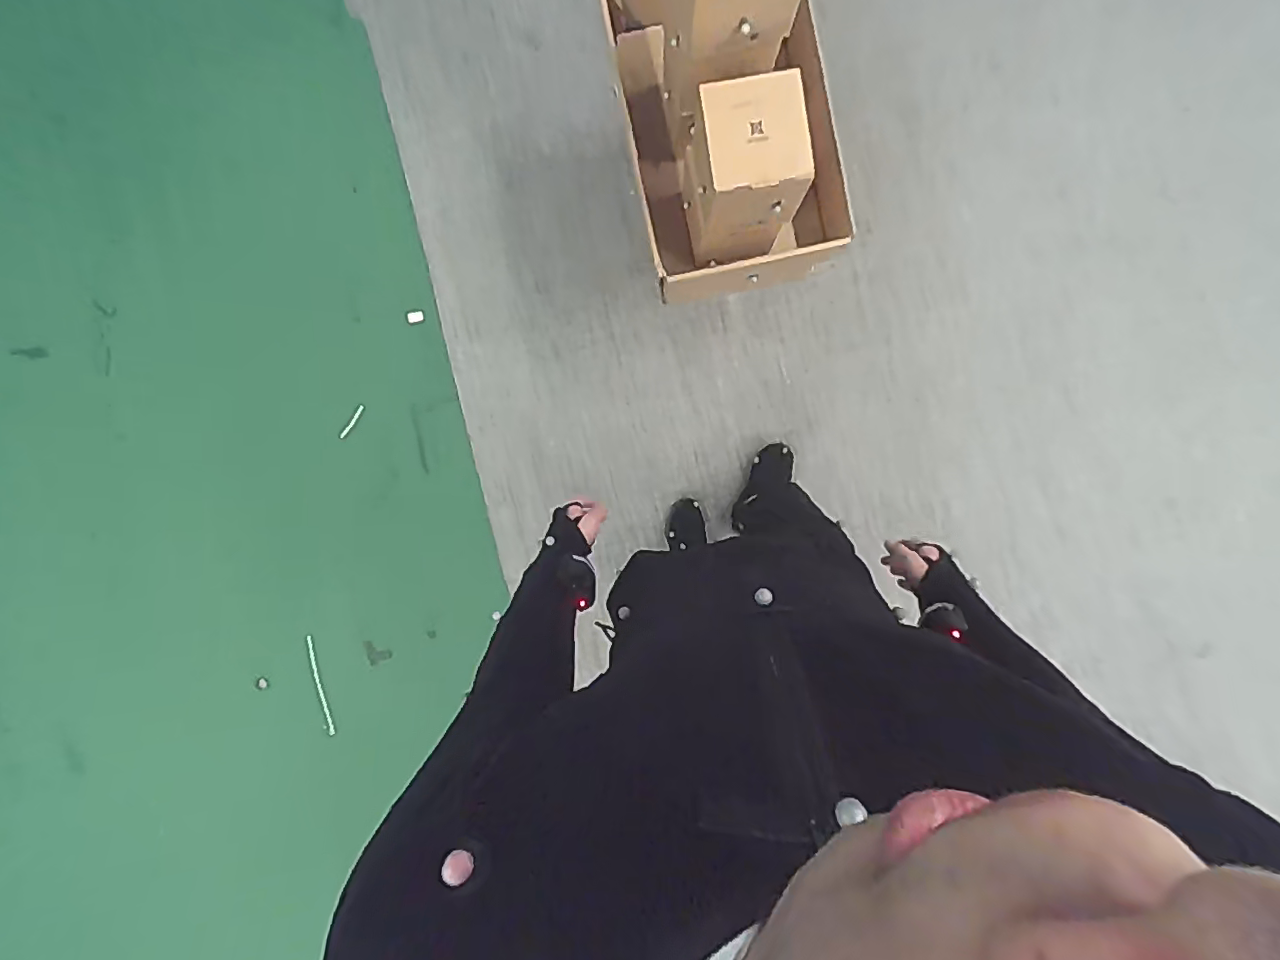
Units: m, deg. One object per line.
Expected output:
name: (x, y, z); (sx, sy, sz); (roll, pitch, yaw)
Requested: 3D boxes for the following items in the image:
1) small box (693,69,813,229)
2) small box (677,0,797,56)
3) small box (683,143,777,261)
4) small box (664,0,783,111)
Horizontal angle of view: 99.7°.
small box: (0.189, -0.560, 0.944); (0.168, 0.176, 0.179); (-8, 90, 1)
small box: (0.137, -0.774, 0.782); (0.168, 0.176, 0.179); (-13, 93, 2)
small box: (0.184, -0.569, 1.107); (0.168, 0.176, 0.179); (-10, 89, 2)
small box: (0.138, -0.797, 0.946); (0.168, 0.176, 0.179); (-11, 94, 1)
